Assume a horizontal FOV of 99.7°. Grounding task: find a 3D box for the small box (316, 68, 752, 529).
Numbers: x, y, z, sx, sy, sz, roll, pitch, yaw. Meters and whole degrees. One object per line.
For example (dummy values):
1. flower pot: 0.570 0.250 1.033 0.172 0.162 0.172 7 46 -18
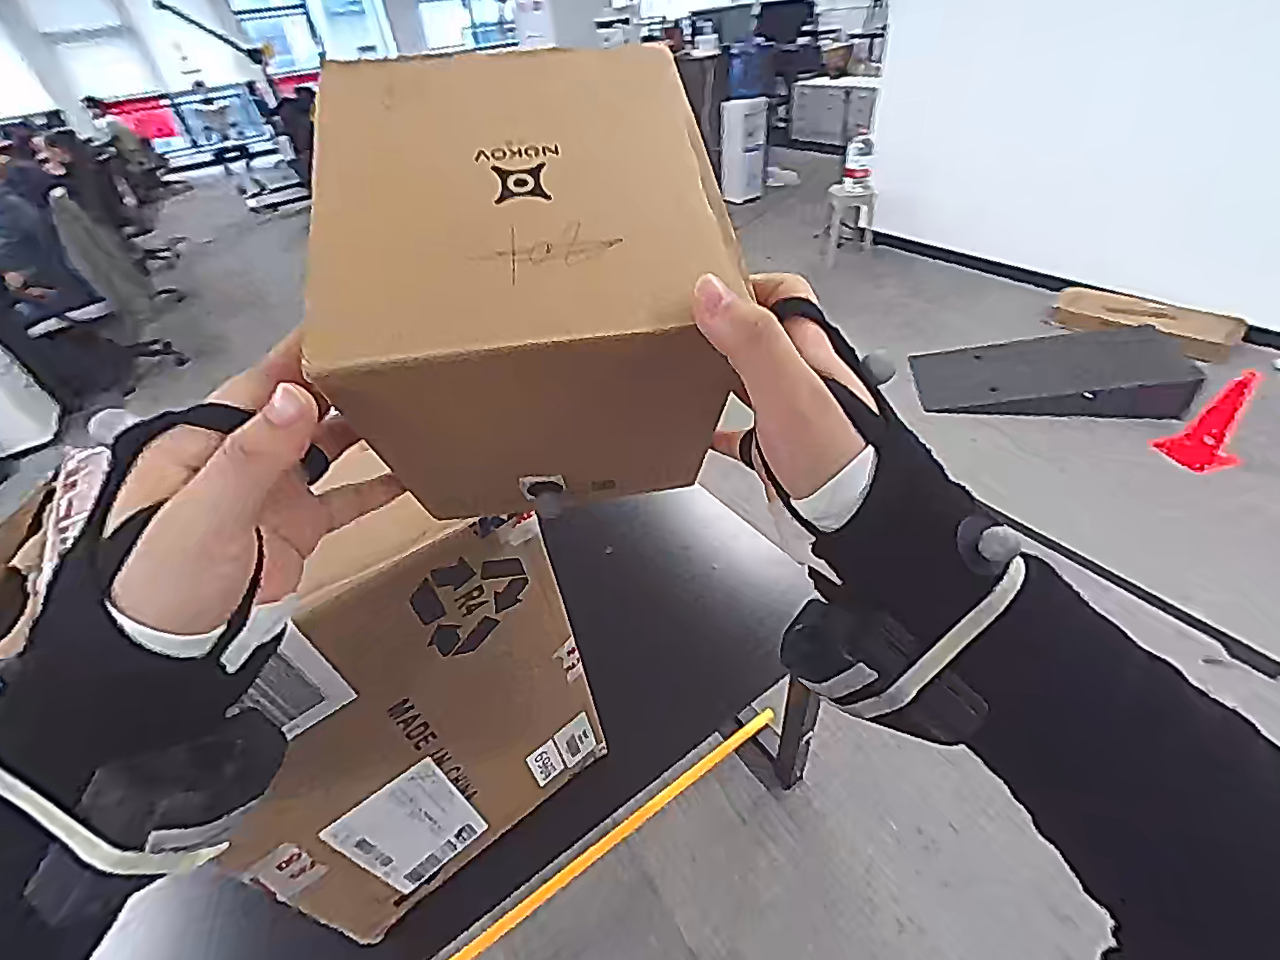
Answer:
1. small box: -0.054 -0.089 0.307 0.168 0.176 0.179 -9 68 -6
